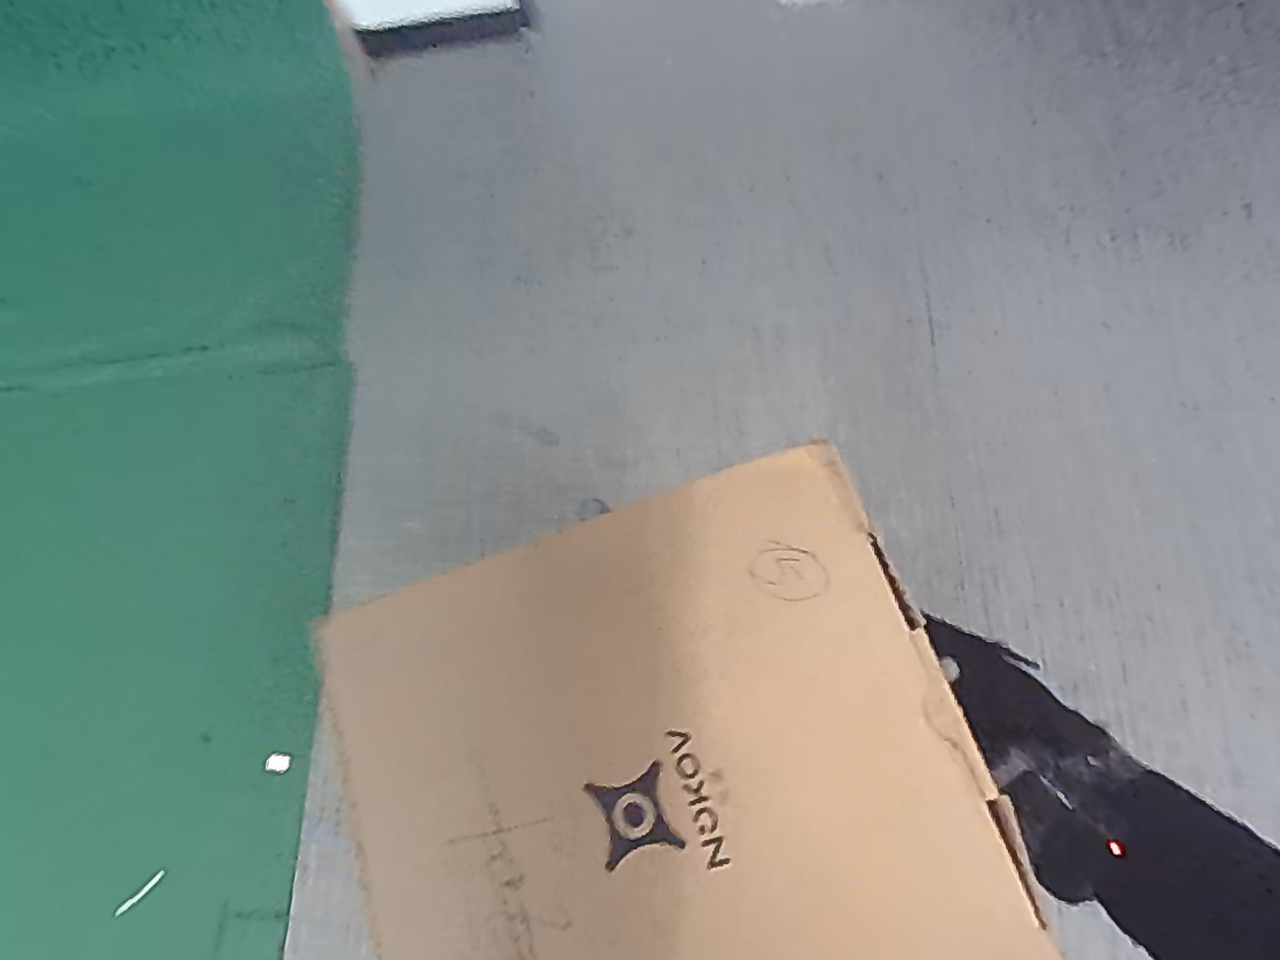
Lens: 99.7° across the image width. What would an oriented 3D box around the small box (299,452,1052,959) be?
[{"bbox_3d":[0.011,0.109,0.224,0.179,0.176,0.168,-23,75,6],"label":"small box"}]
